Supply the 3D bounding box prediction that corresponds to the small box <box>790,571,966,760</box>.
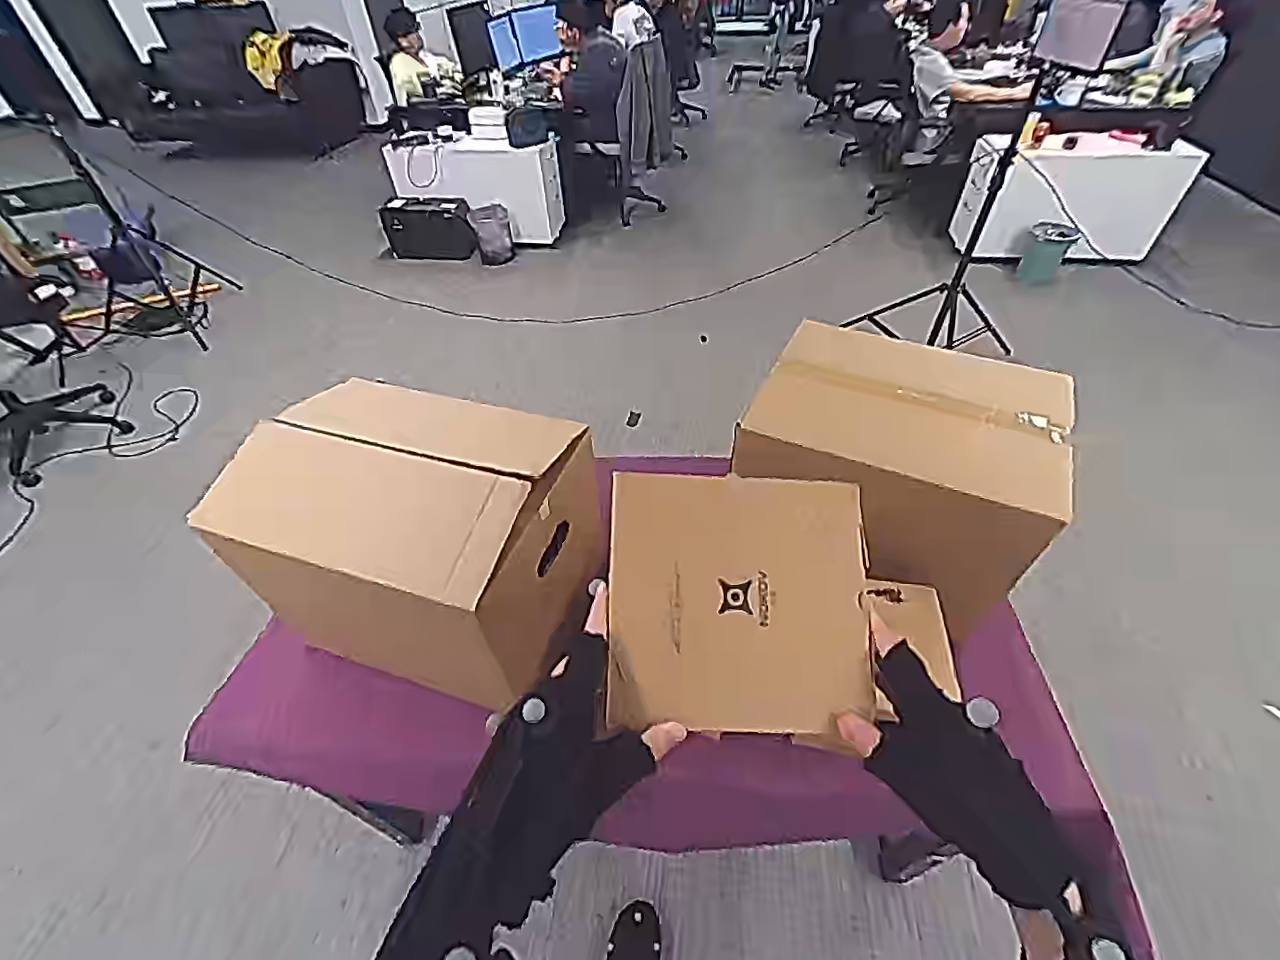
[{"bbox_3d":[0.300,0.250,0.724,0.168,0.176,0.179,6,46,7],"label":"small box"}]
